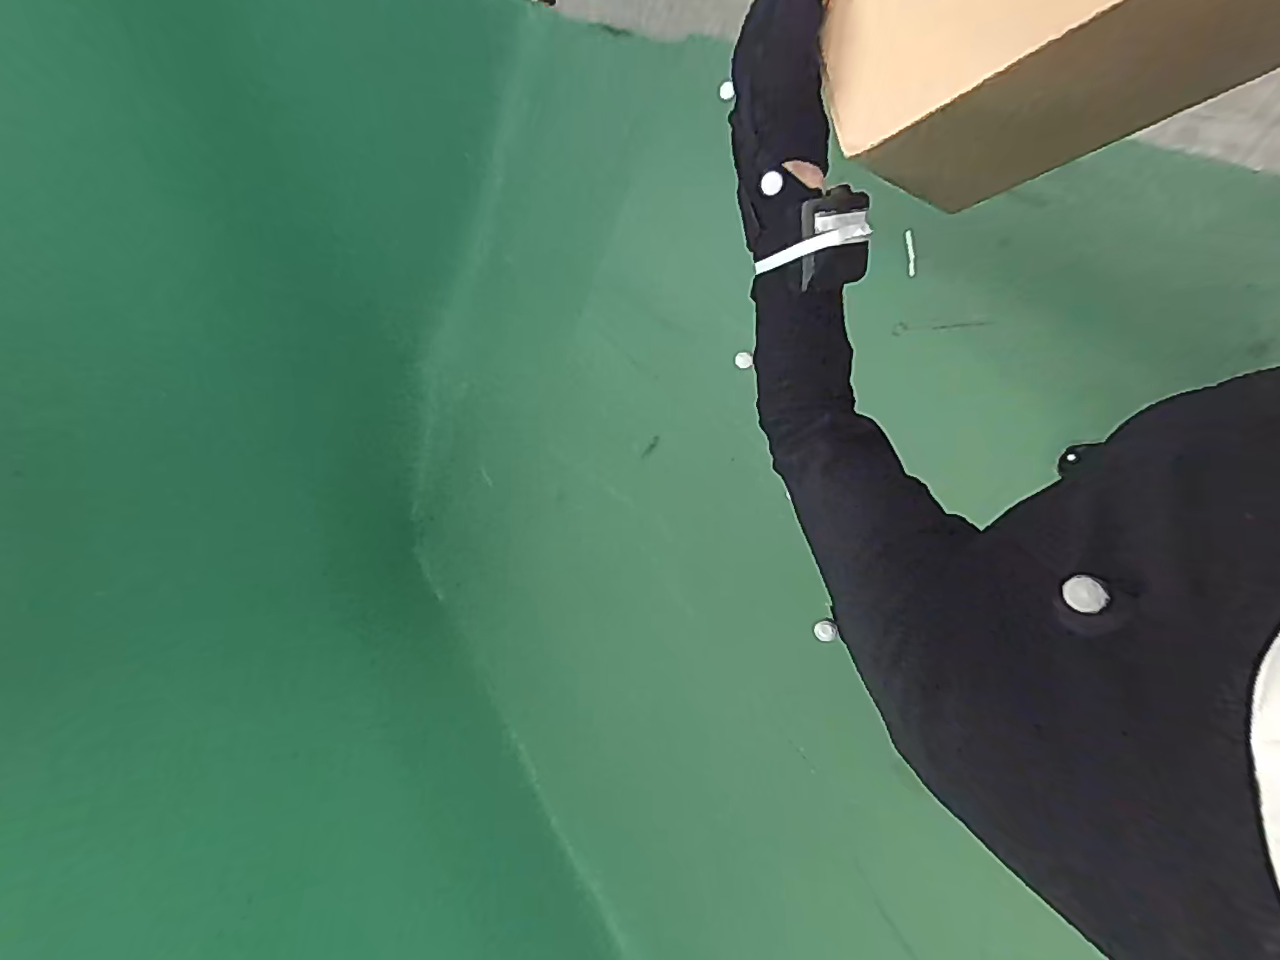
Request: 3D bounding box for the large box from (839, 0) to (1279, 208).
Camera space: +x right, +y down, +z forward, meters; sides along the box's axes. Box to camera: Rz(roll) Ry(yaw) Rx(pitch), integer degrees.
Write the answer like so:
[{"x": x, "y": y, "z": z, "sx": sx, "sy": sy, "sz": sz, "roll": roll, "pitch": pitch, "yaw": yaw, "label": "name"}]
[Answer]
[{"x": 0.366, "y": -0.451, "z": 0.359, "sx": 0.408, "sy": 0.320, "sz": 0.320, "roll": -13, "pitch": 94, "yaw": 43, "label": "large box"}]
